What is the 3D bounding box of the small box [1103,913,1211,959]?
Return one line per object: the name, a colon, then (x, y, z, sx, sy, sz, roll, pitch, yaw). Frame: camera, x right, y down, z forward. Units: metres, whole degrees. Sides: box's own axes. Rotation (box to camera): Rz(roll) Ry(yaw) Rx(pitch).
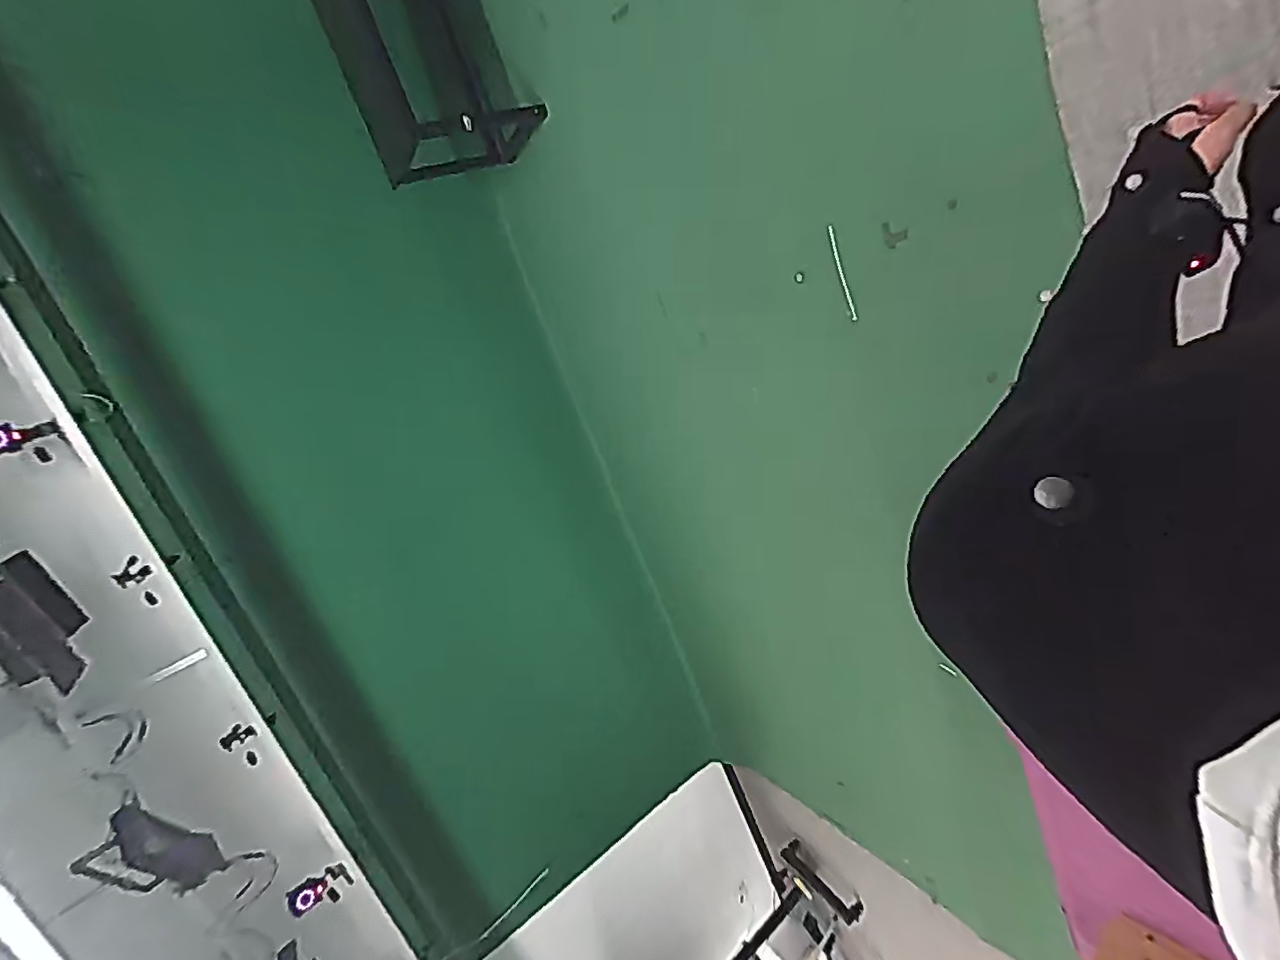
small box: (1.006, 0.991, 1.023, 0.168, 0.176, 0.179, 1, 115, 61)
